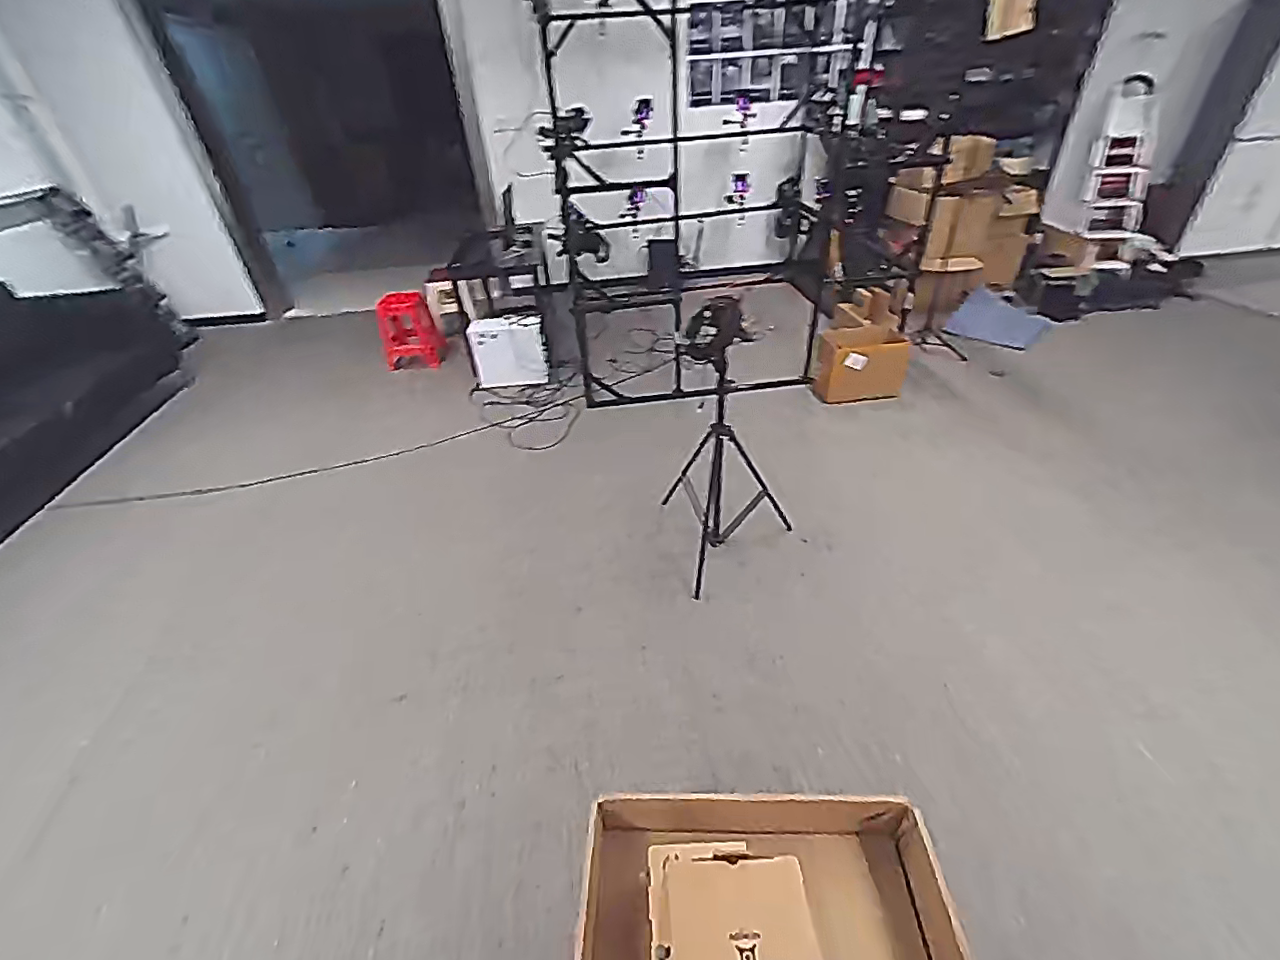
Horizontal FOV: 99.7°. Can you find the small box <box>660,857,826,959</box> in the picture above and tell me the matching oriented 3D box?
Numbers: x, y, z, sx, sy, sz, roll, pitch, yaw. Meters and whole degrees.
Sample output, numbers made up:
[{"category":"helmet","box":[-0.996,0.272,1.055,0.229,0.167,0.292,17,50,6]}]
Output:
[{"category":"small box","box":[0.115,0.576,0.630,0.168,0.176,0.179,1,34,-4]}]
